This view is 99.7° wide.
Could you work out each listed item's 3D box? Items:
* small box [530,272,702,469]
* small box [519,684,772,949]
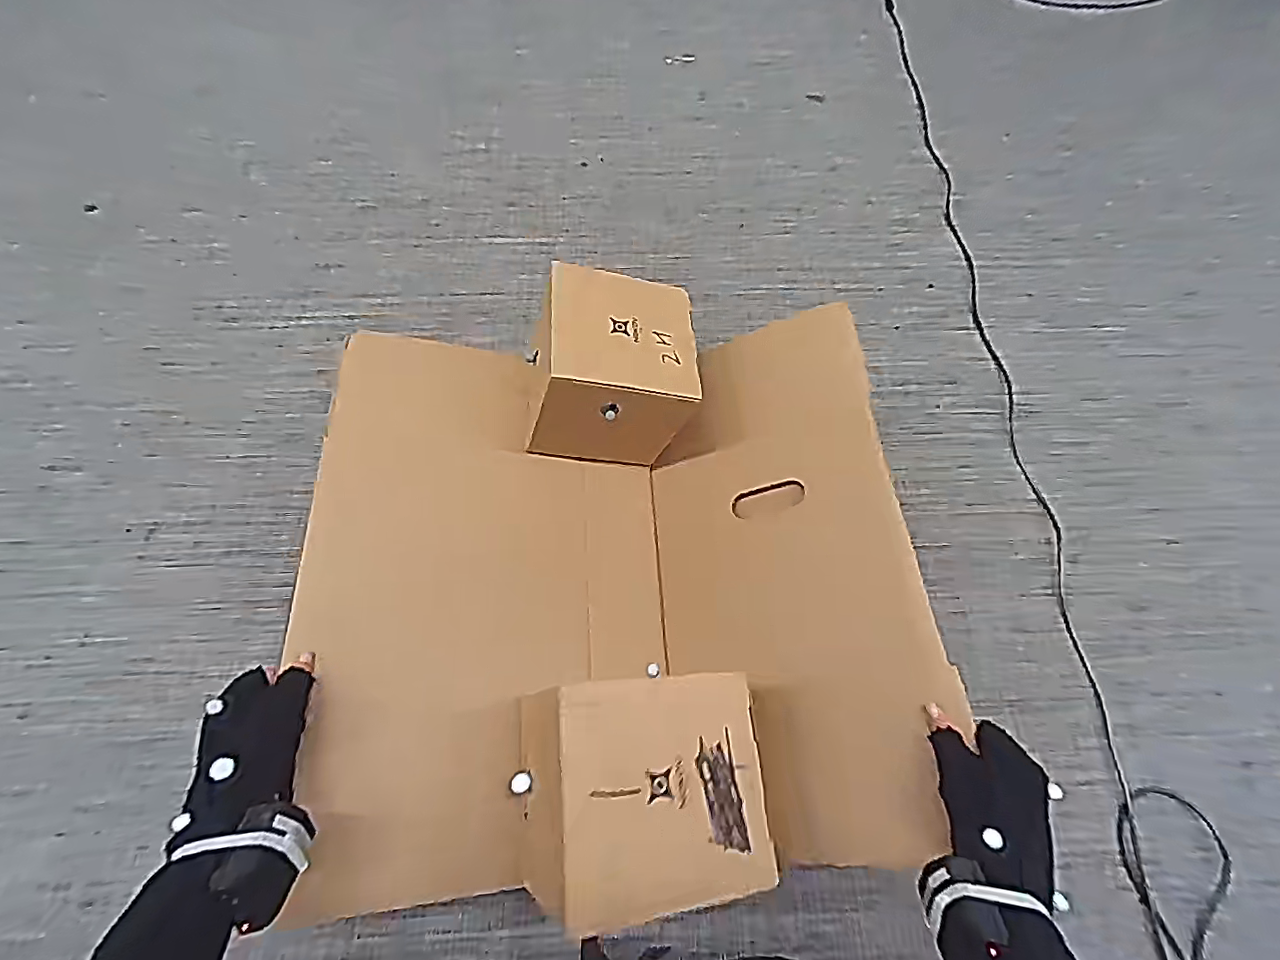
[{"bbox_3d":[-0.040,-0.126,0.685,0.179,0.176,0.168,6,63,-19],"label":"small box"},{"bbox_3d":[-0.009,0.282,0.496,0.179,0.176,0.168,3,66,-20],"label":"small box"}]
